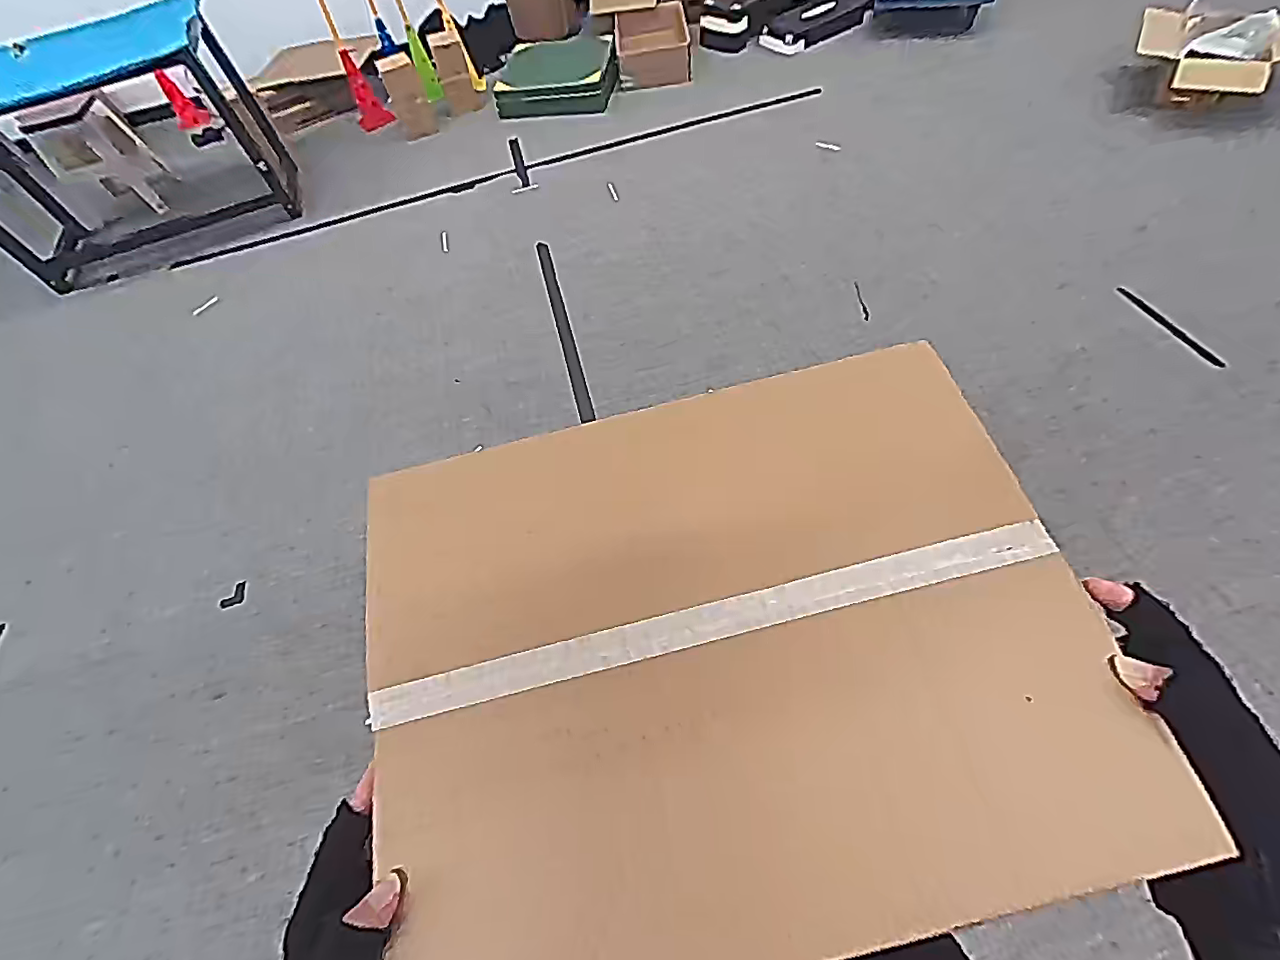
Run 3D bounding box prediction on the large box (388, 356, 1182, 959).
[{"bbox_3d":[0.057,0.155,0.461,0.408,0.320,0.320,-14,64,-1],"label":"large box"}]
